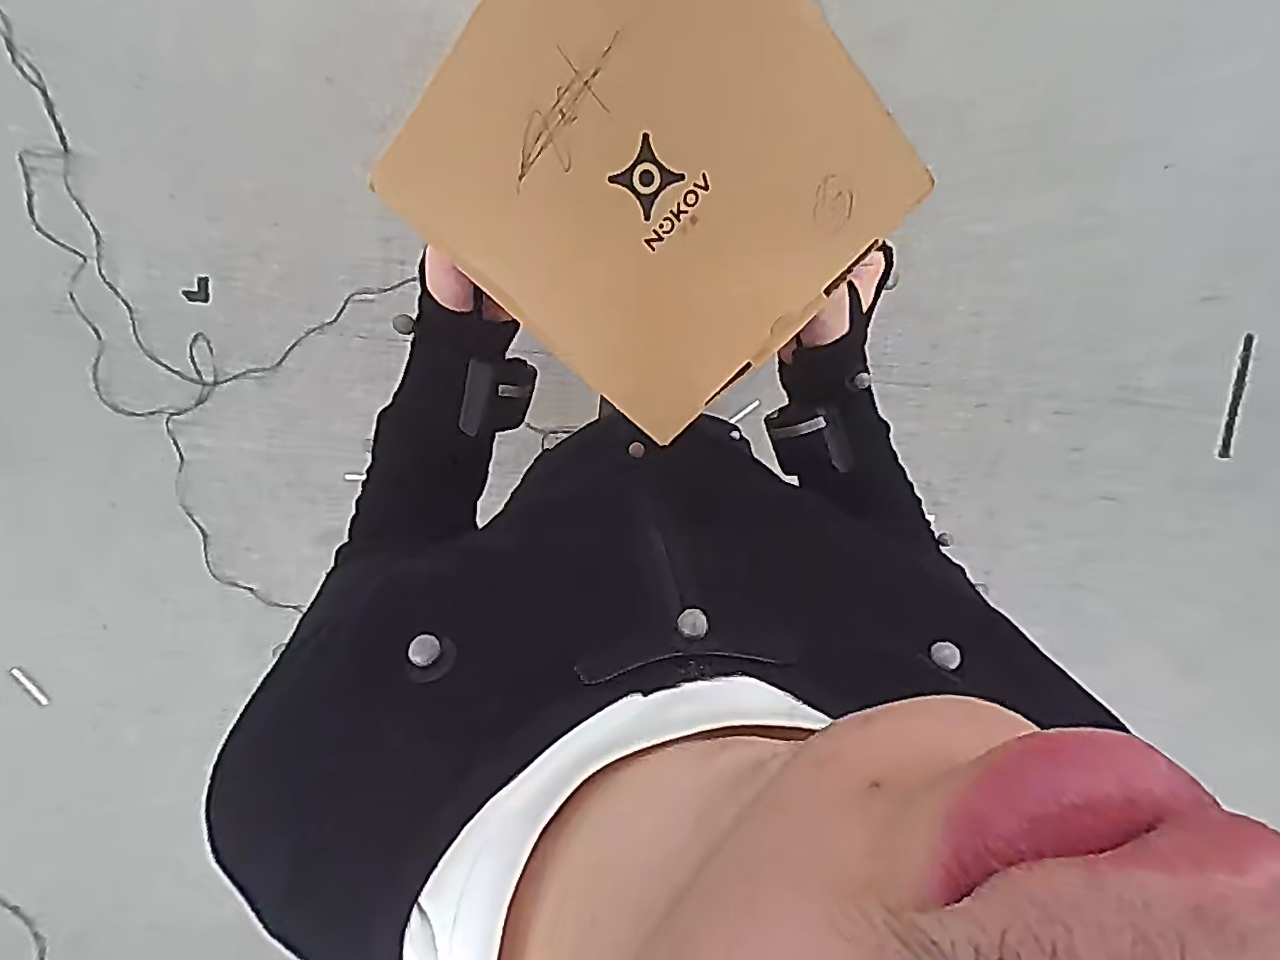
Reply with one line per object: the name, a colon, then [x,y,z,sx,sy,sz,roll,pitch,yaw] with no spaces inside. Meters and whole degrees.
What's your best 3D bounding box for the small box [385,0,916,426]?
small box: [0.005,-0.167,0.306,0.179,0.176,0.168,40,110,-18]
